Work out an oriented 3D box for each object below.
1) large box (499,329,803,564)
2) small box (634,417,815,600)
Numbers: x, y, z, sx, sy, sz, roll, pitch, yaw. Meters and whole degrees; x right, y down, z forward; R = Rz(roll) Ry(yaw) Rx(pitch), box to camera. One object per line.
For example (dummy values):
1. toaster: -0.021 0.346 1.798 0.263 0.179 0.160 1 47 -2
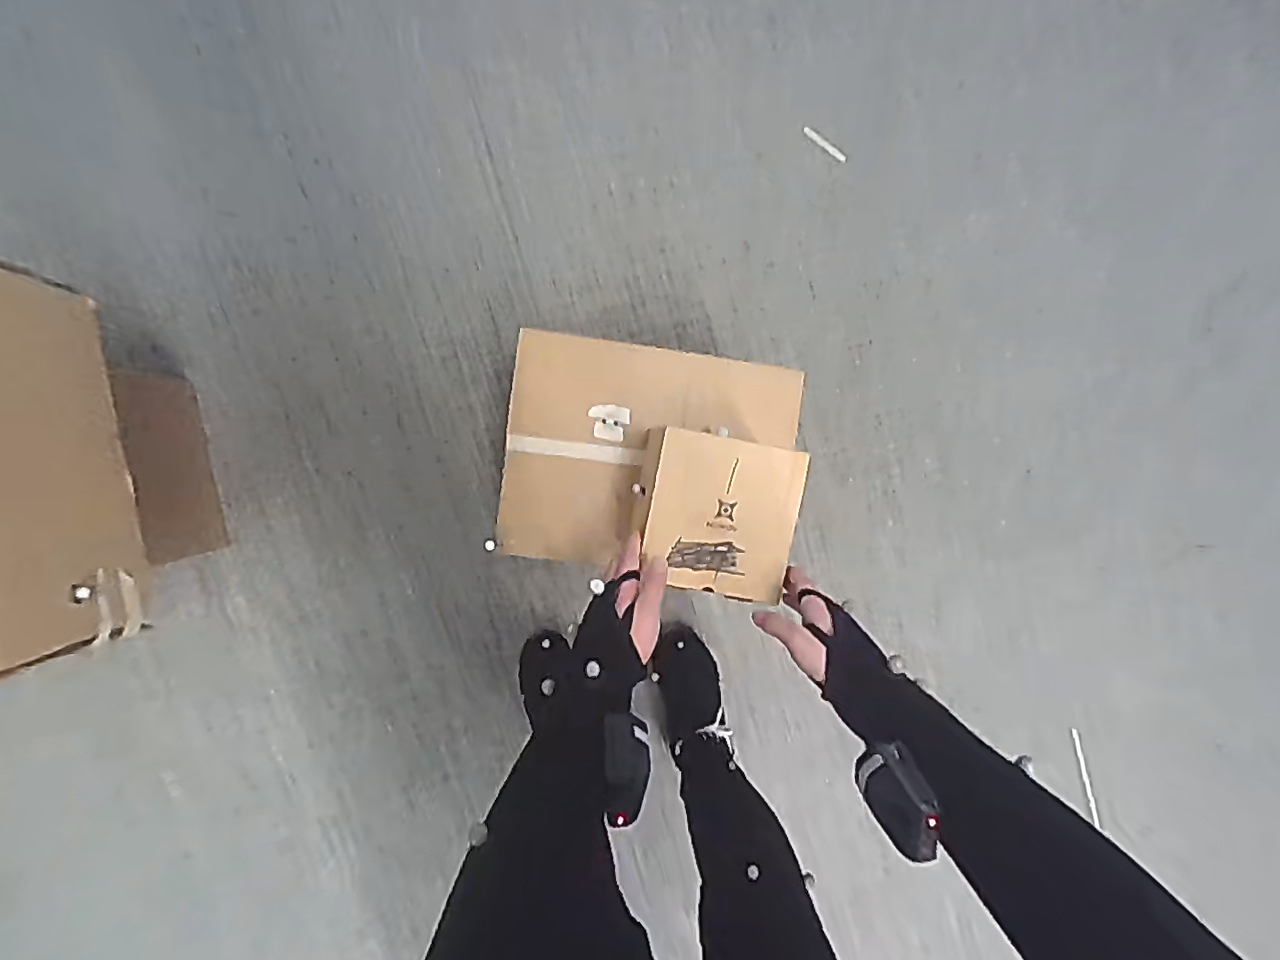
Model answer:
1. large box: 0.009 -0.042 0.902 0.408 0.320 0.320 7 92 -5
2. small box: 0.089 0.027 0.666 0.168 0.176 0.179 11 93 -6
